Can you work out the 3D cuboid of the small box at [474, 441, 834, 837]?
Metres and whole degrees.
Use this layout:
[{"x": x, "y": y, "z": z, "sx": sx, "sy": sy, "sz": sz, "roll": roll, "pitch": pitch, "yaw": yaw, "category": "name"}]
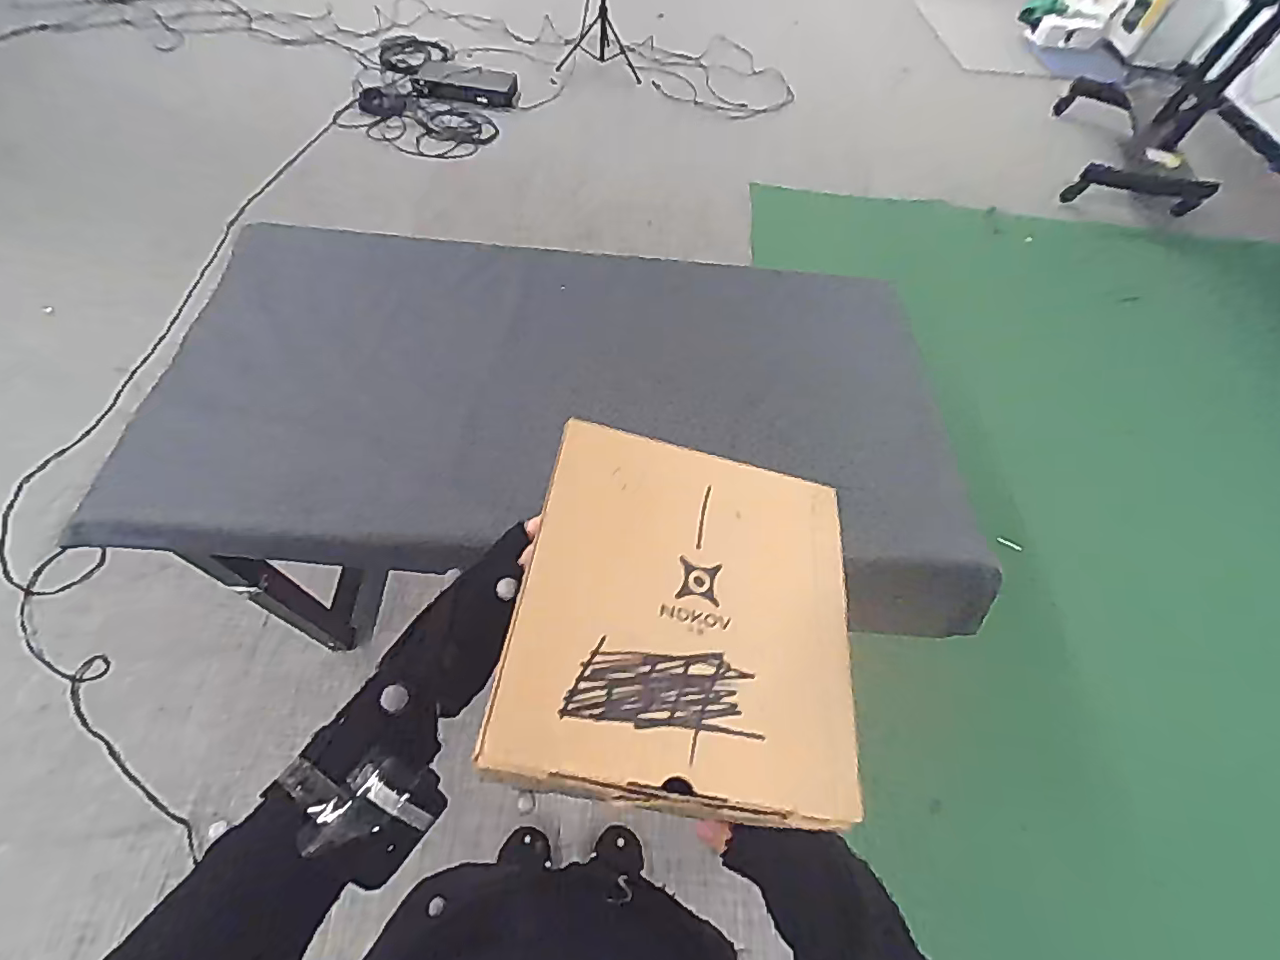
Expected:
[{"x": 0.004, "y": 0.108, "z": 0.345, "sx": 0.168, "sy": 0.176, "sz": 0.179, "roll": 15, "pitch": 56, "yaw": -7, "category": "small box"}]
